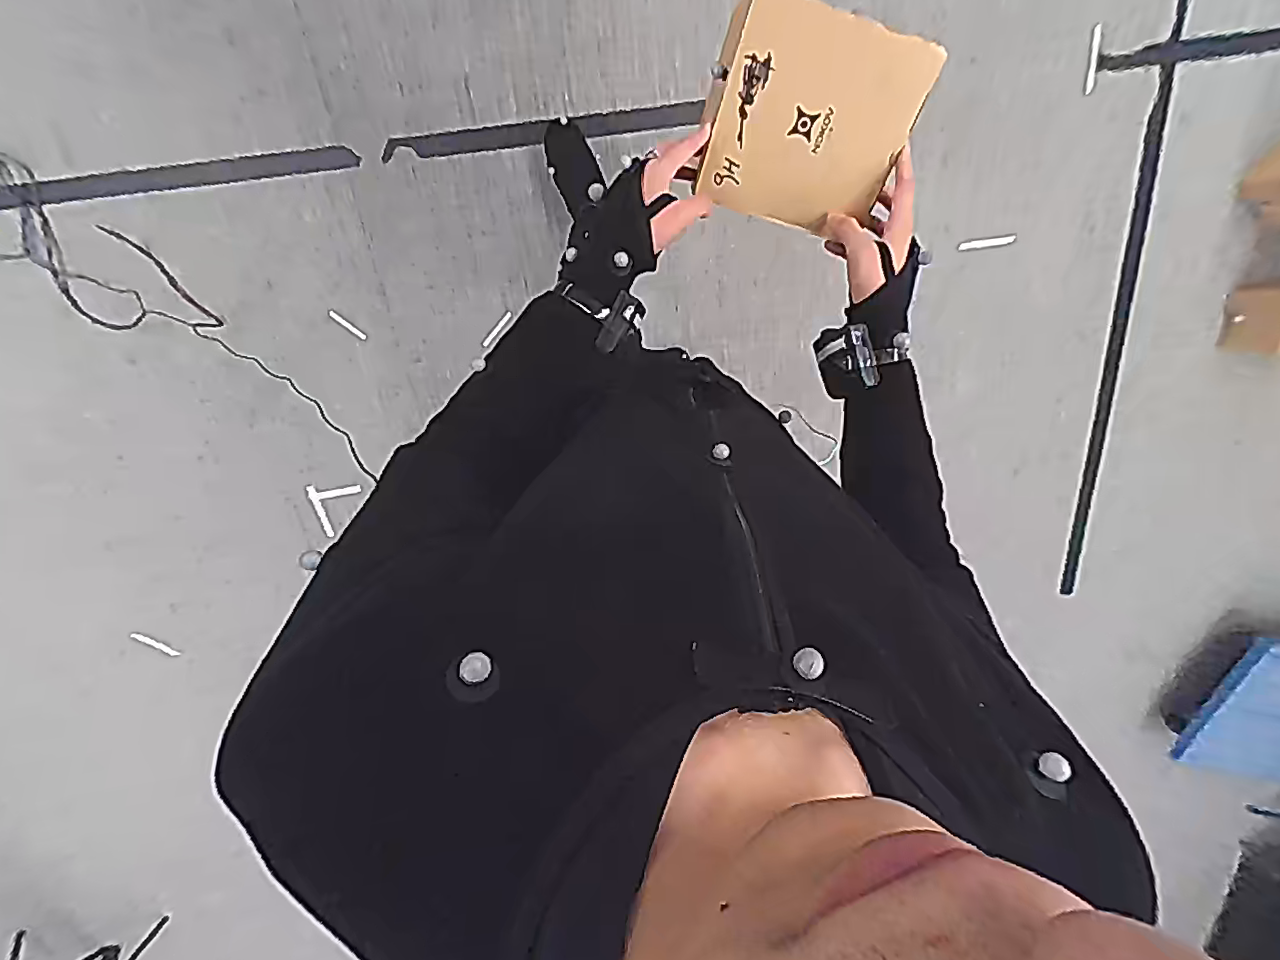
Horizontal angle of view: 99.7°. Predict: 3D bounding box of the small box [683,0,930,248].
[{"bbox_3d":[0.153,-0.372,0.569,0.179,0.176,0.168,14,126,-8],"label":"small box"}]
